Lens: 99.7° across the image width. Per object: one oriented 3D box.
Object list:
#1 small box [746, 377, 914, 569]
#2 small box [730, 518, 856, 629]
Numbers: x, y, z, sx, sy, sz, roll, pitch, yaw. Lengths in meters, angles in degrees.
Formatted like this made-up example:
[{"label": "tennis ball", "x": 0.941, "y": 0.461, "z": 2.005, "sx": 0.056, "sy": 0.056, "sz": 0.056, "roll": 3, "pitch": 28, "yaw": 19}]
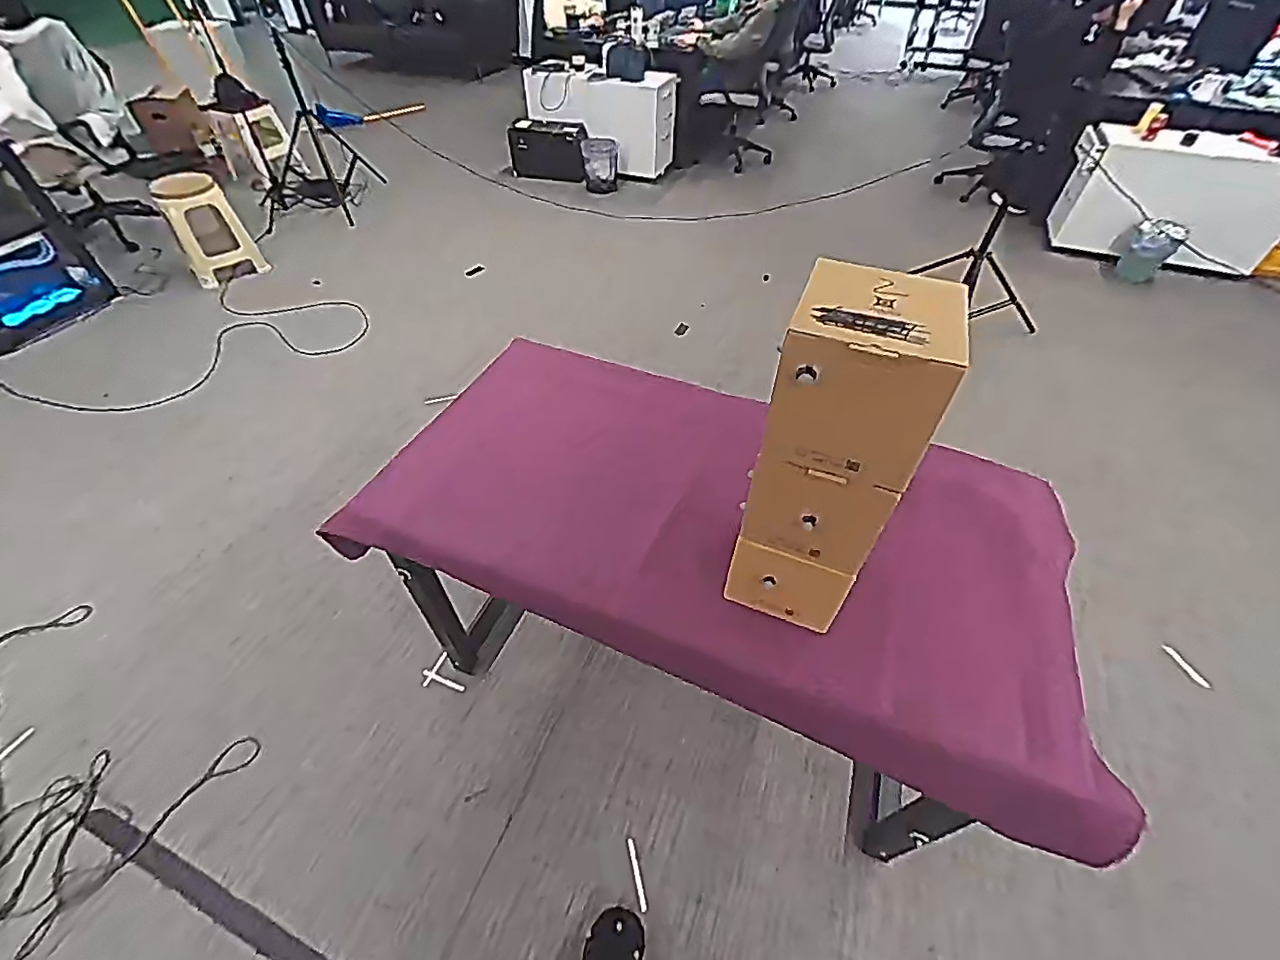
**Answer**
[{"label": "small box", "x": 0.250, "y": -0.008, "z": 0.736, "sx": 0.168, "sy": 0.176, "sz": 0.179, "roll": 18, "pitch": 50, "yaw": 15}, {"label": "small box", "x": 0.246, "y": 0.106, "z": 0.854, "sx": 0.168, "sy": 0.176, "sz": 0.179, "roll": 17, "pitch": 49, "yaw": 15}]
